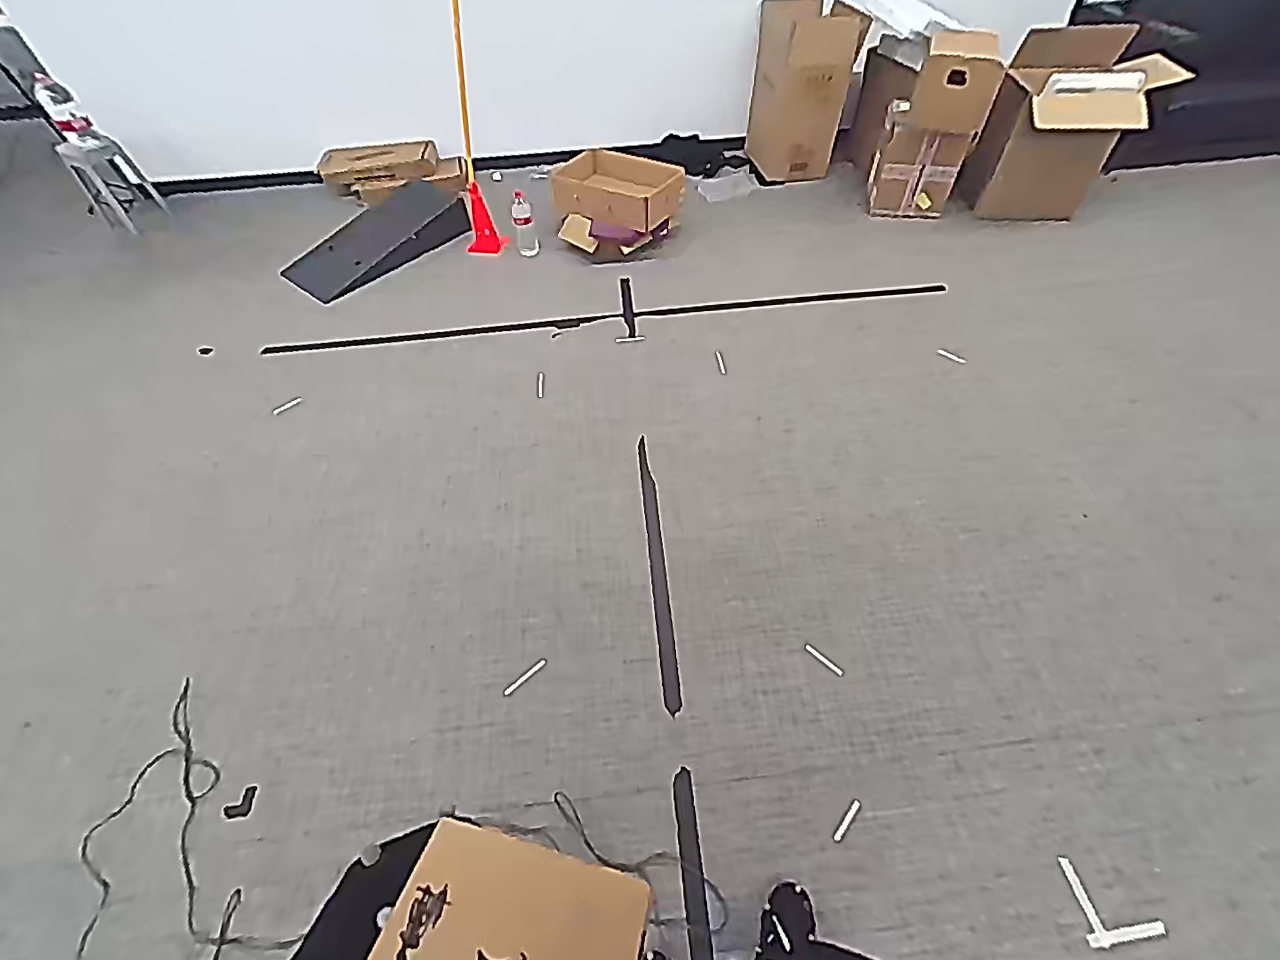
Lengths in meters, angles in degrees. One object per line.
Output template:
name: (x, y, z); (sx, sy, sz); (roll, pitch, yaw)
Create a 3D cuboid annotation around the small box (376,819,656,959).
small box: (-0.099, 0.397, 0.398); (0.179, 0.176, 0.168); (13, 32, 7)
